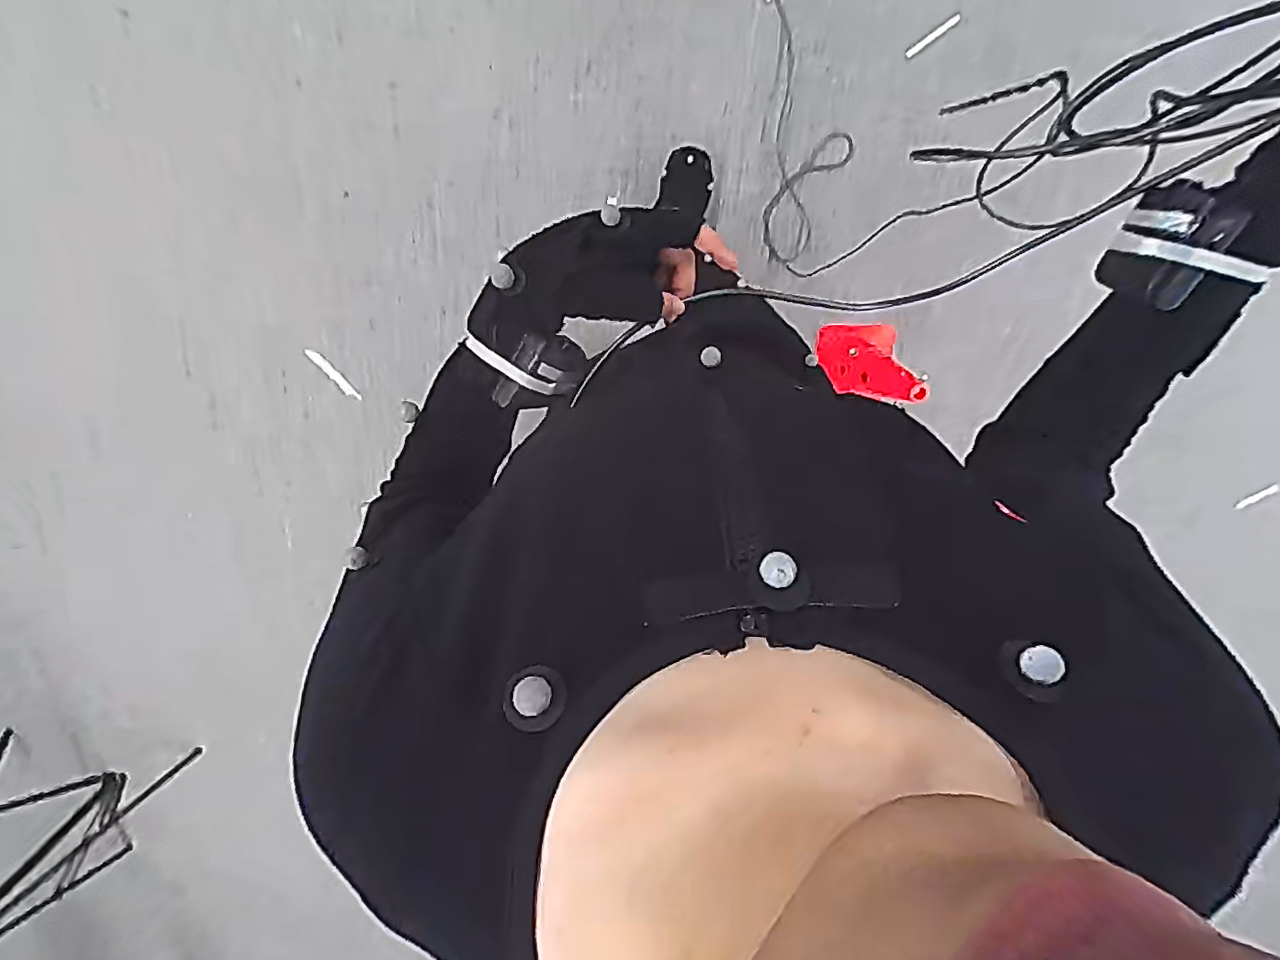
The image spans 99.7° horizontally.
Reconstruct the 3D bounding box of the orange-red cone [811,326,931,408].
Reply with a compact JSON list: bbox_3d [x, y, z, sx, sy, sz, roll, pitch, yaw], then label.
[{"bbox_3d":[0.552,-0.228,1.226,0.199,0.360,0.198,0,112,-2],"label":"orange-red cone"}]
